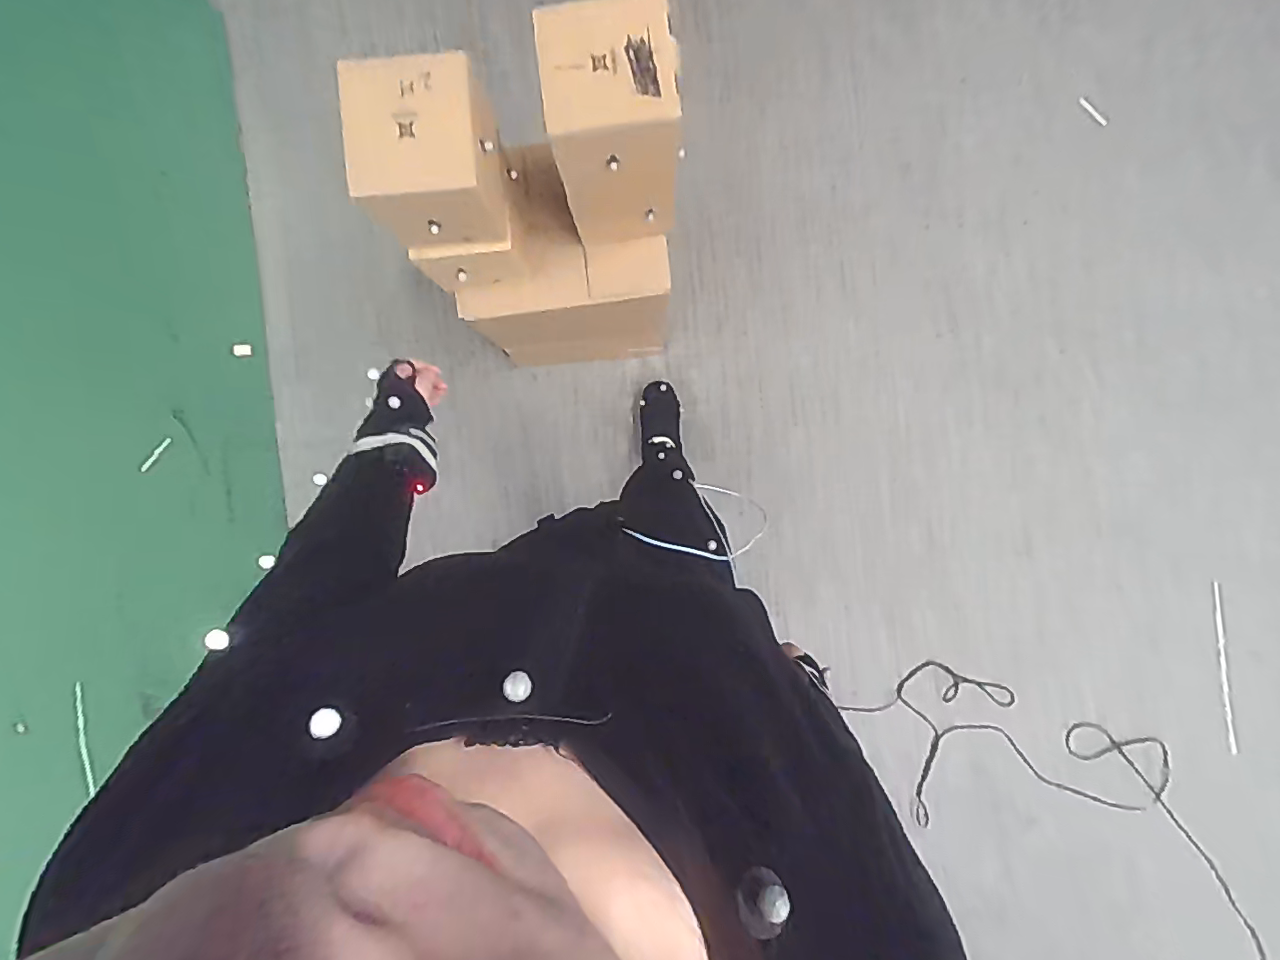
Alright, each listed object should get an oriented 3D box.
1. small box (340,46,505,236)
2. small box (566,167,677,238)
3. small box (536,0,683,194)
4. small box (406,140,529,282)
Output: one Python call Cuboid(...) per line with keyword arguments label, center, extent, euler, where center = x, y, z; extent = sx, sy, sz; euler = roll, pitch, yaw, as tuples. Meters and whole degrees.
Cuboid(label="small box", center=(-0.293, -0.460, 0.764), extent=(0.168, 0.176, 0.179), euler=(-3, 92, -1))
Cuboid(label="small box", center=(-0.036, -0.537, 0.927), extent=(0.179, 0.176, 0.168), euler=(-7, 91, 2))
Cuboid(label="small box", center=(-0.037, -0.532, 0.762), extent=(0.179, 0.176, 0.168), euler=(-6, 92, 2))
Cuboid(label="small box", center=(-0.292, -0.453, 0.930), extent=(0.168, 0.176, 0.179), euler=(-5, 92, 0))
